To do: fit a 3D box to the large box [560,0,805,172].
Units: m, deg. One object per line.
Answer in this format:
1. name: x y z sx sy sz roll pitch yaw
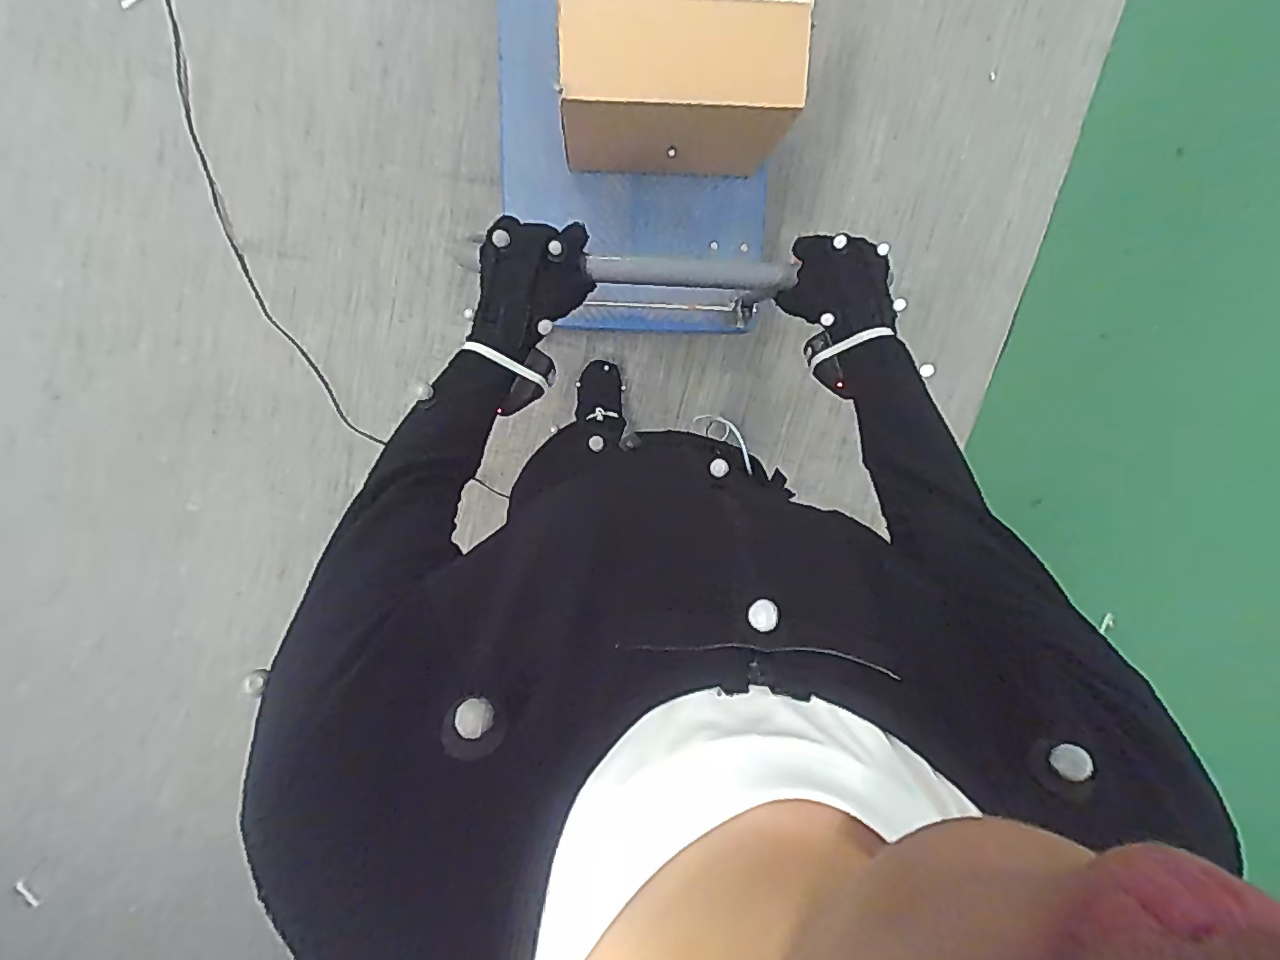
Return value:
1. large box: 0.064 -0.795 1.010 0.408 0.320 0.320 -1 100 -3
